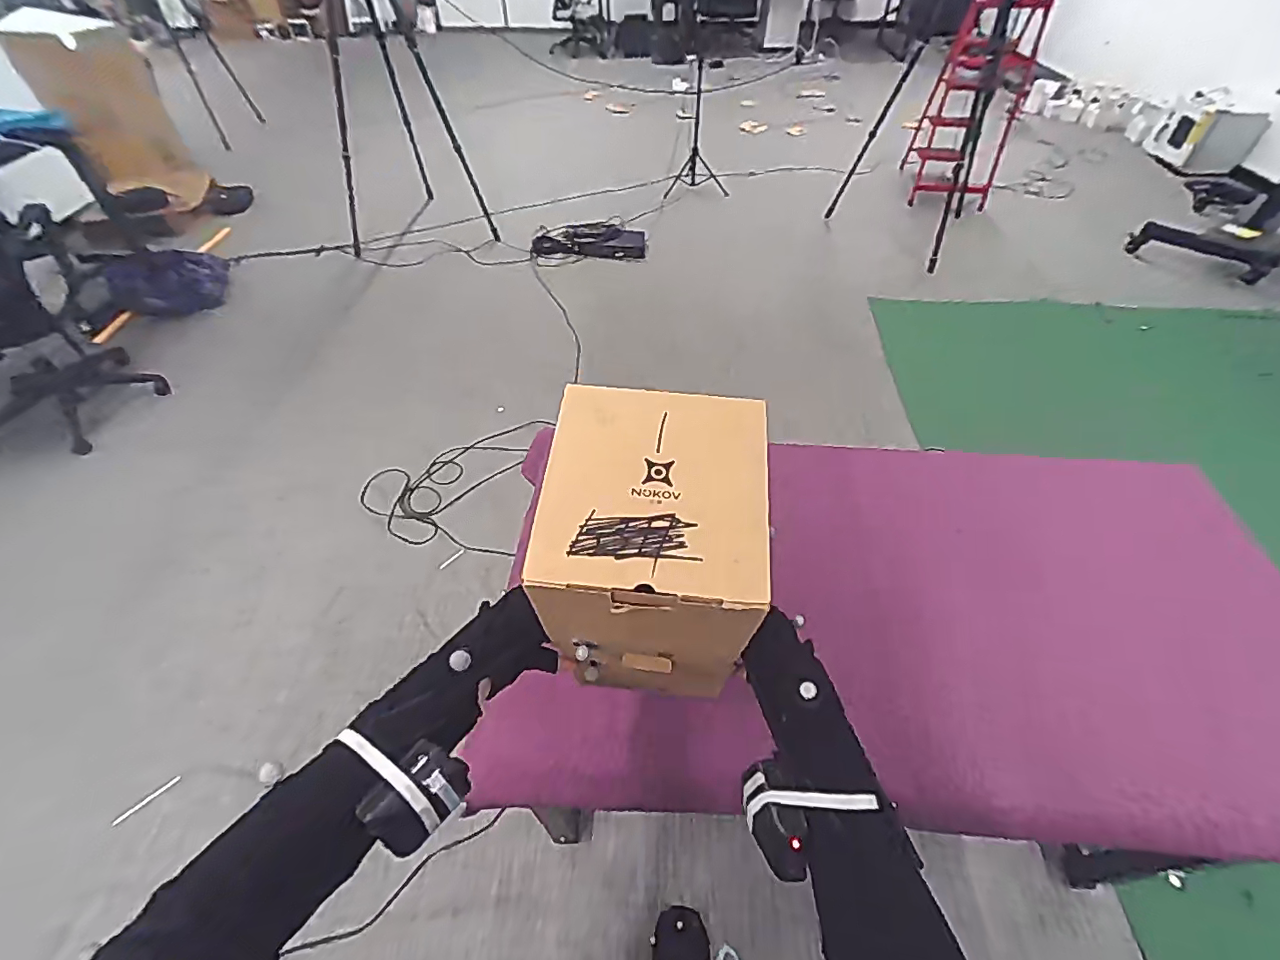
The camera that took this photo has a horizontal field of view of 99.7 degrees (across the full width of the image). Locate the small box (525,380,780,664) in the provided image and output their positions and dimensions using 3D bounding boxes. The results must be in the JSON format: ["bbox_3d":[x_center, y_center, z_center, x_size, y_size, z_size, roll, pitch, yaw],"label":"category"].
[{"bbox_3d":[0.015,0.045,0.460,0.168,0.176,0.179,9,59,3],"label":"small box"}]
